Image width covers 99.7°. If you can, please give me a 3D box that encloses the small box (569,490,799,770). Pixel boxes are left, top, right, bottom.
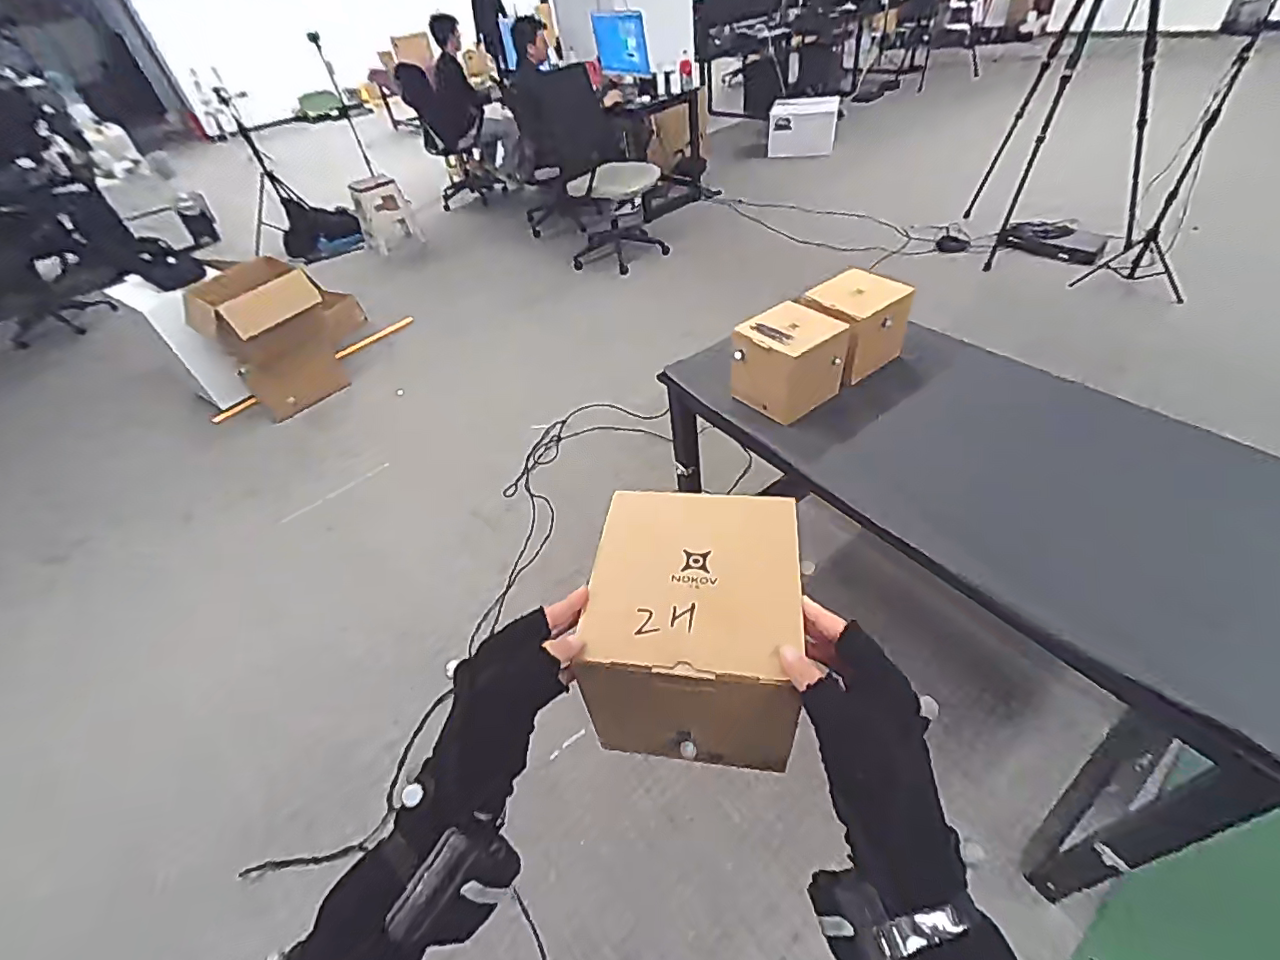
[{"bbox_3d":[0.048,0.131,0.490,0.168,0.176,0.179,2,44,10],"label":"small box"}]

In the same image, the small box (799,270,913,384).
[{"bbox_3d":[0.483,-0.351,1.239,0.179,0.176,0.168,-31,49,-20],"label":"small box"}]
